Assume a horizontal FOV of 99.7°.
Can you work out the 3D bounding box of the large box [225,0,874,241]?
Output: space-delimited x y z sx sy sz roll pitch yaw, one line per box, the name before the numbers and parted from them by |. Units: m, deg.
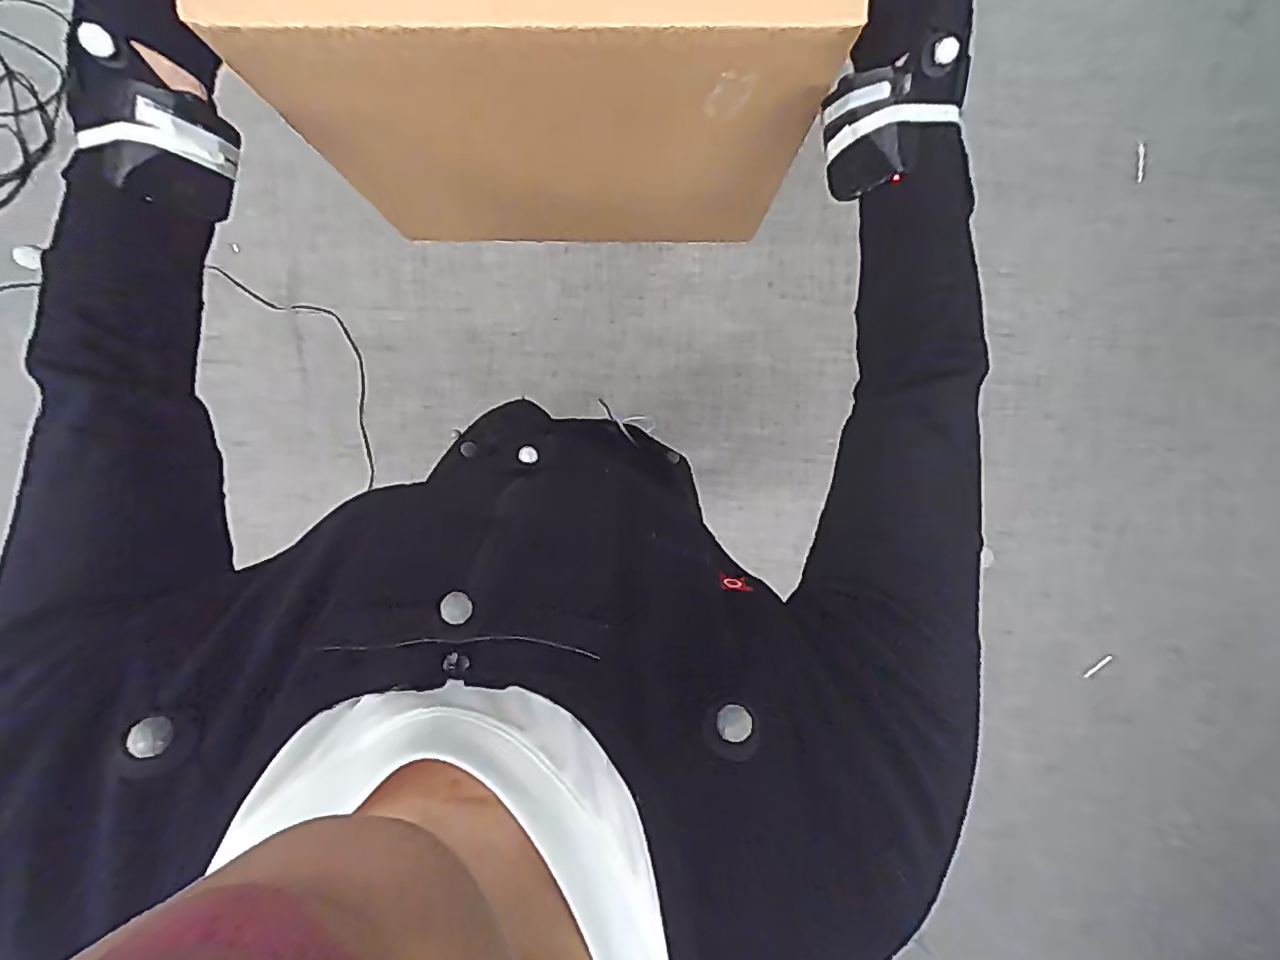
large box | -0.061 -0.429 0.477 0.408 0.320 0.320 -1 92 -2
